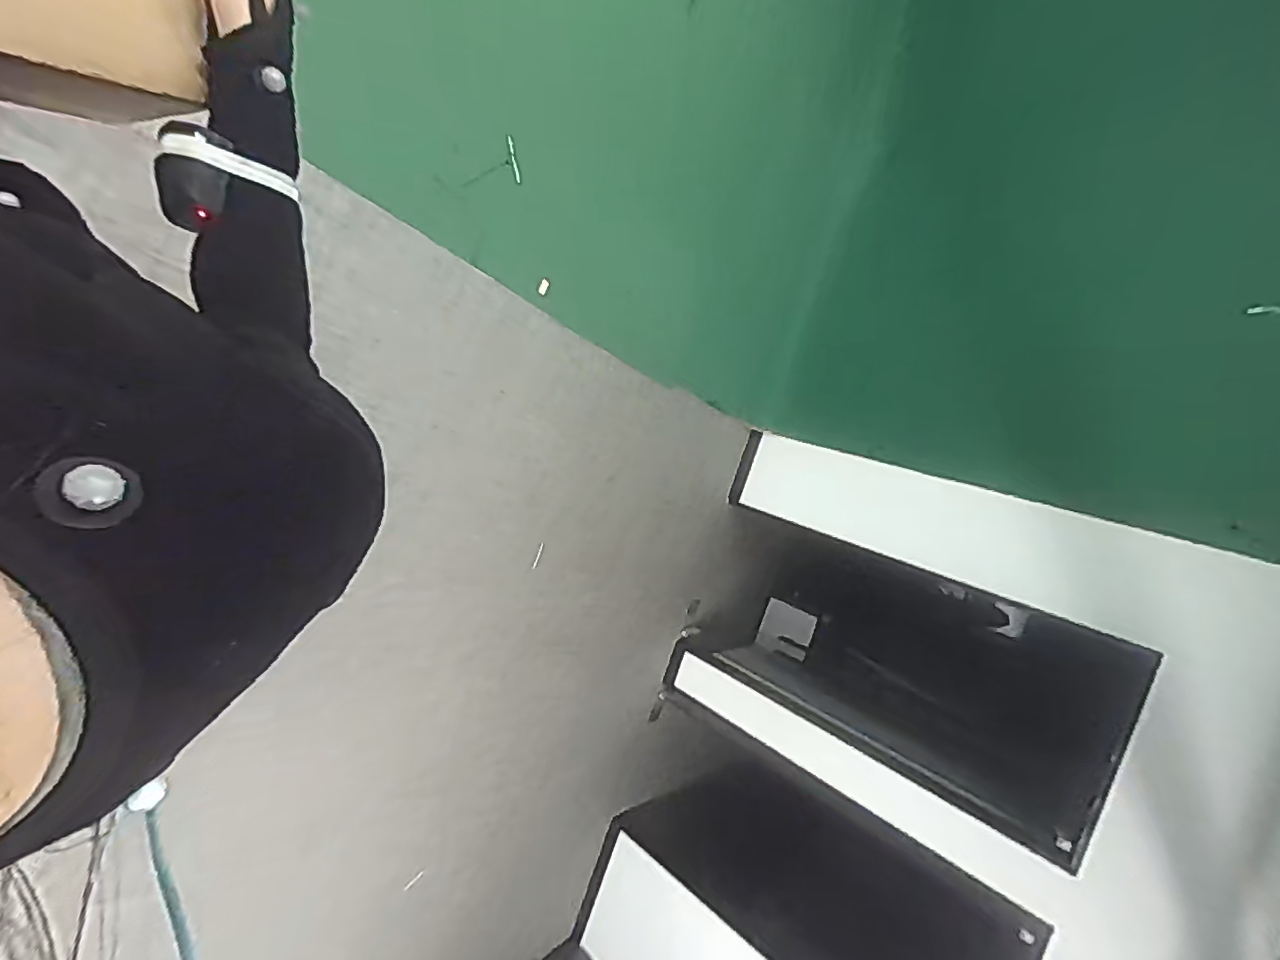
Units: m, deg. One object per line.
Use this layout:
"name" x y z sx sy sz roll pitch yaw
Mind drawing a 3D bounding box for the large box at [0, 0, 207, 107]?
"large box" -0.558 -0.448 0.305 0.408 0.320 0.320 -18 122 -48
